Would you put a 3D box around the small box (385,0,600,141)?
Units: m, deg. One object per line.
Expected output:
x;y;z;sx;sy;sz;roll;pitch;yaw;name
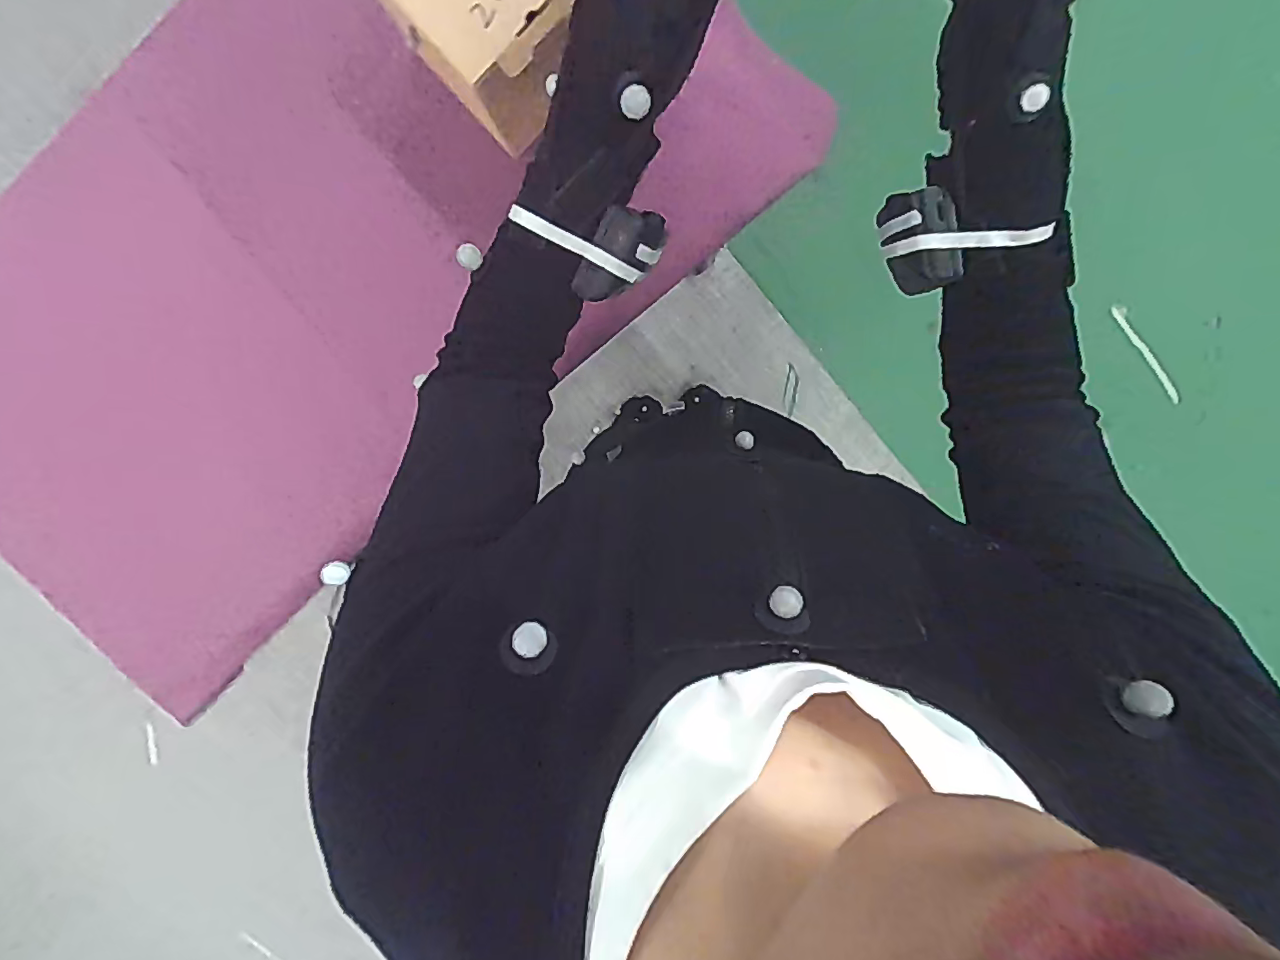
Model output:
-0.161;-0.509;0.568;0.168;0.176;0.179;-43;98;8;small box
